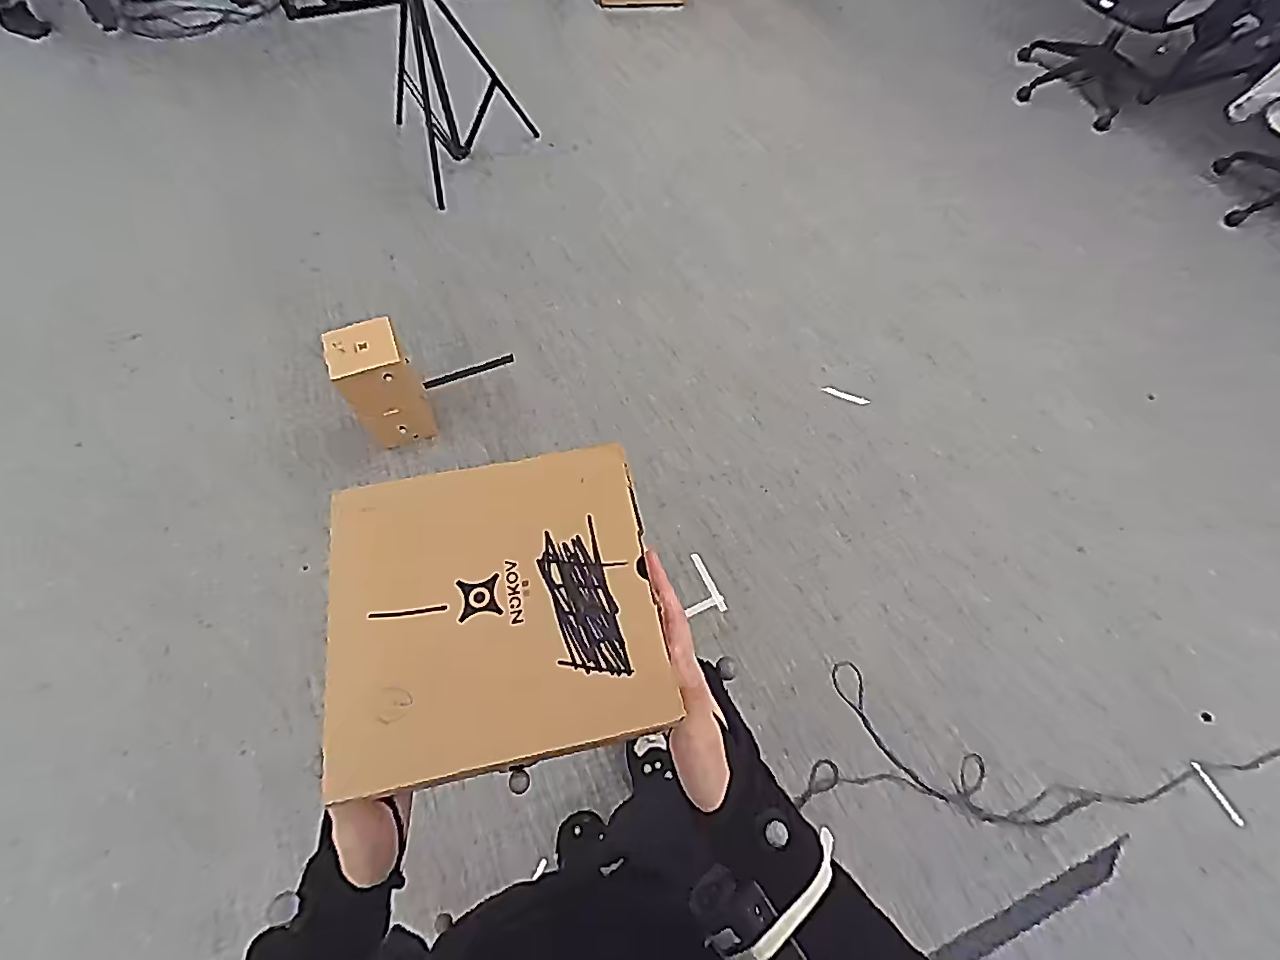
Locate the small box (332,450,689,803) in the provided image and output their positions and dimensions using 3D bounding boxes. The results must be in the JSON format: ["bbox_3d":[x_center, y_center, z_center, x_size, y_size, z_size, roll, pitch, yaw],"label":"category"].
[{"bbox_3d":[-0.080,0.101,0.368,0.179,0.176,0.168,-10,64,-8],"label":"small box"}]

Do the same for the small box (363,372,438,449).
[{"bbox_3d":[-0.718,-0.212,1.608,0.168,0.176,0.179,-19,66,-11],"label":"small box"}]

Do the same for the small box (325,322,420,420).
[{"bbox_3d":[-0.713,-0.290,1.461,0.179,0.176,0.168,-20,65,-11],"label":"small box"}]
